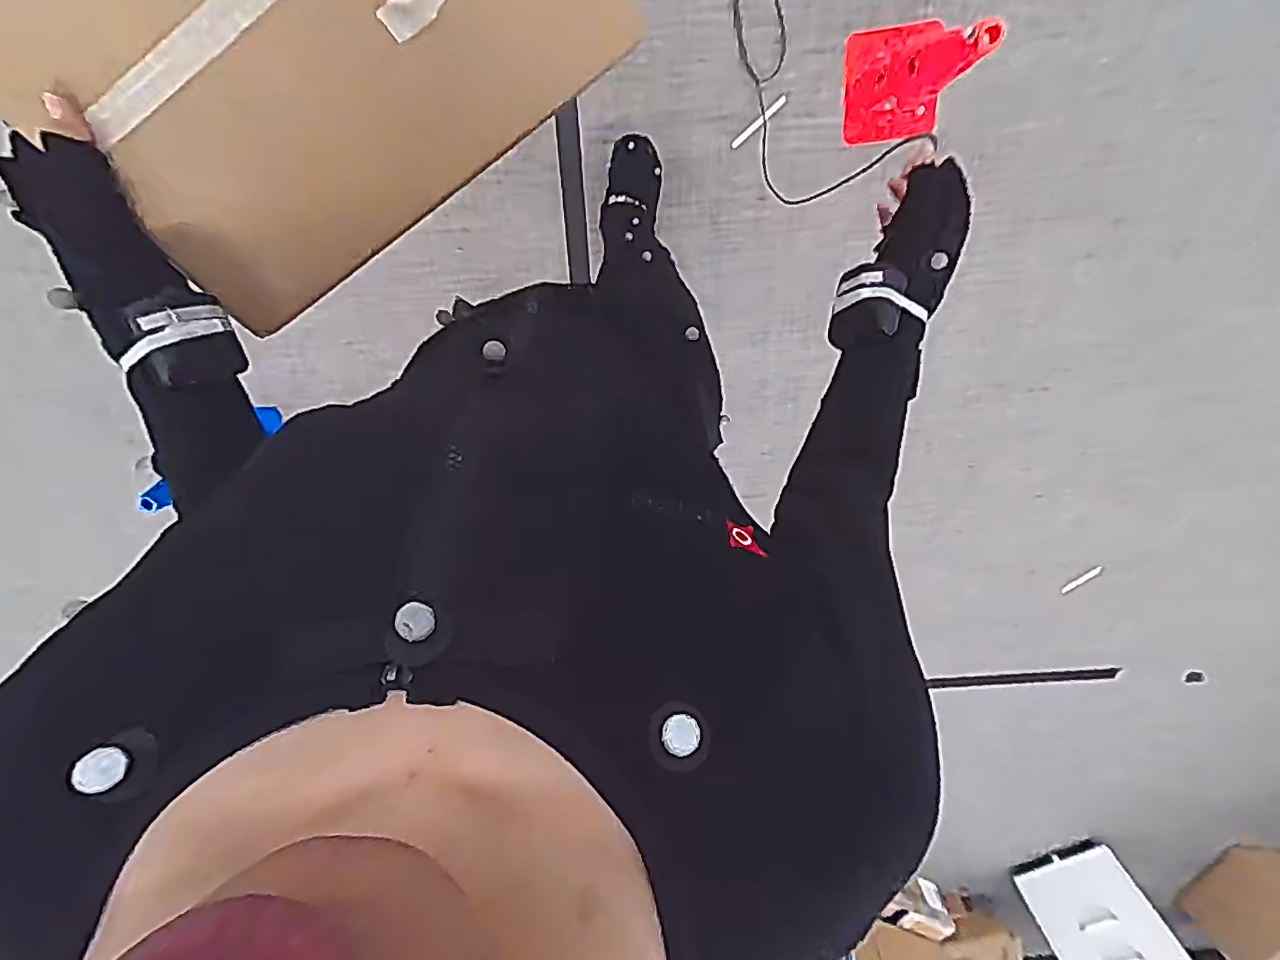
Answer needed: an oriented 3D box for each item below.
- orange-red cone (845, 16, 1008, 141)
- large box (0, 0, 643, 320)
[{"bbox_3d":[0.536,-0.761,0.981,0.198,0.360,0.199,-6,115,1],"label":"orange-red cone"},{"bbox_3d":[-0.267,-0.417,0.481,0.408,0.320,0.320,-35,123,8],"label":"large box"}]
